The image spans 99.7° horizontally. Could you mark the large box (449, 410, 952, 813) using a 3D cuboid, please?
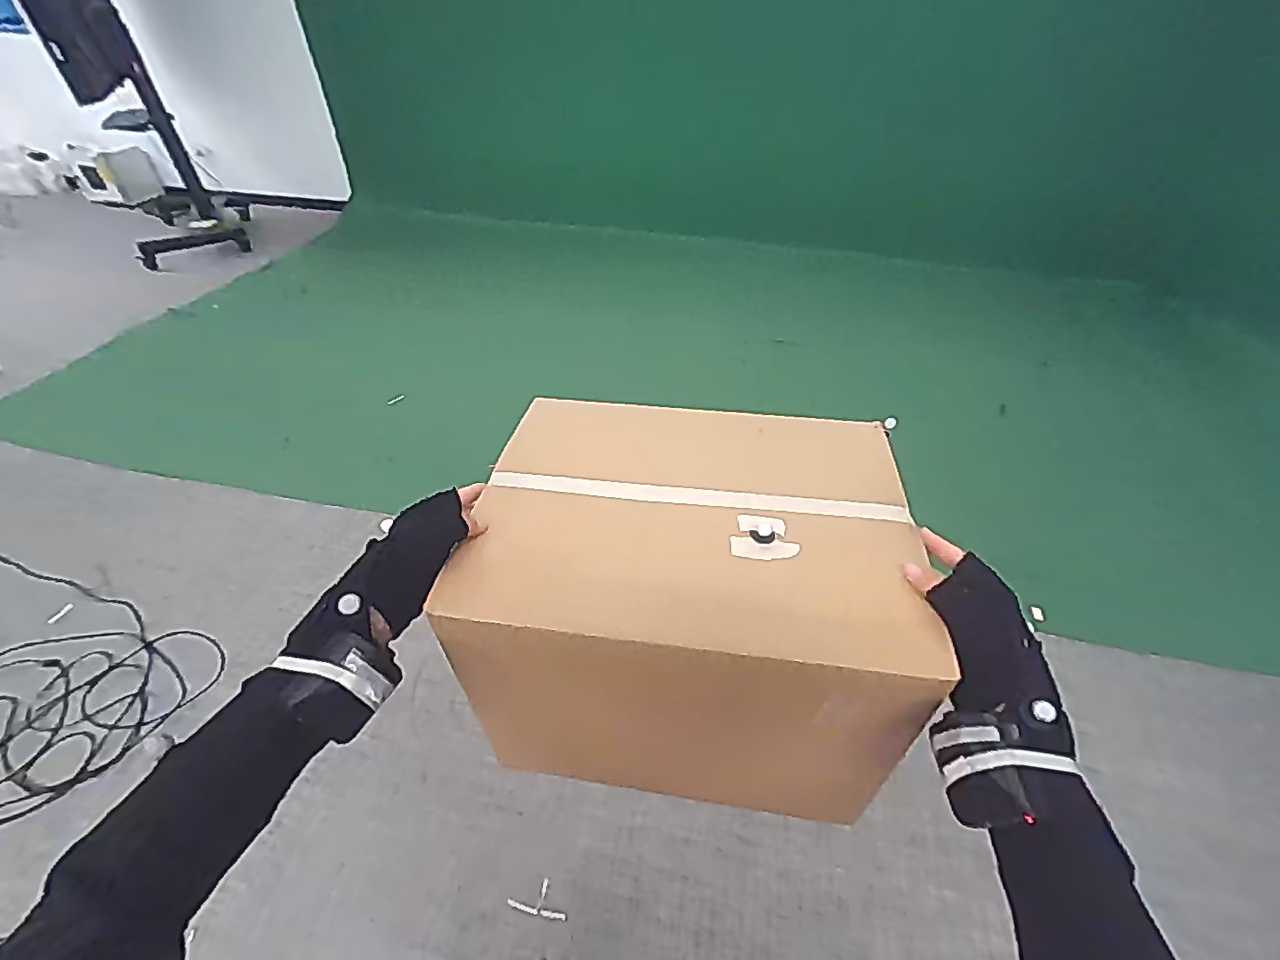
[{"bbox_3d":[0.056,0.141,0.628,0.408,0.320,0.320,6,42,6],"label":"large box"}]
